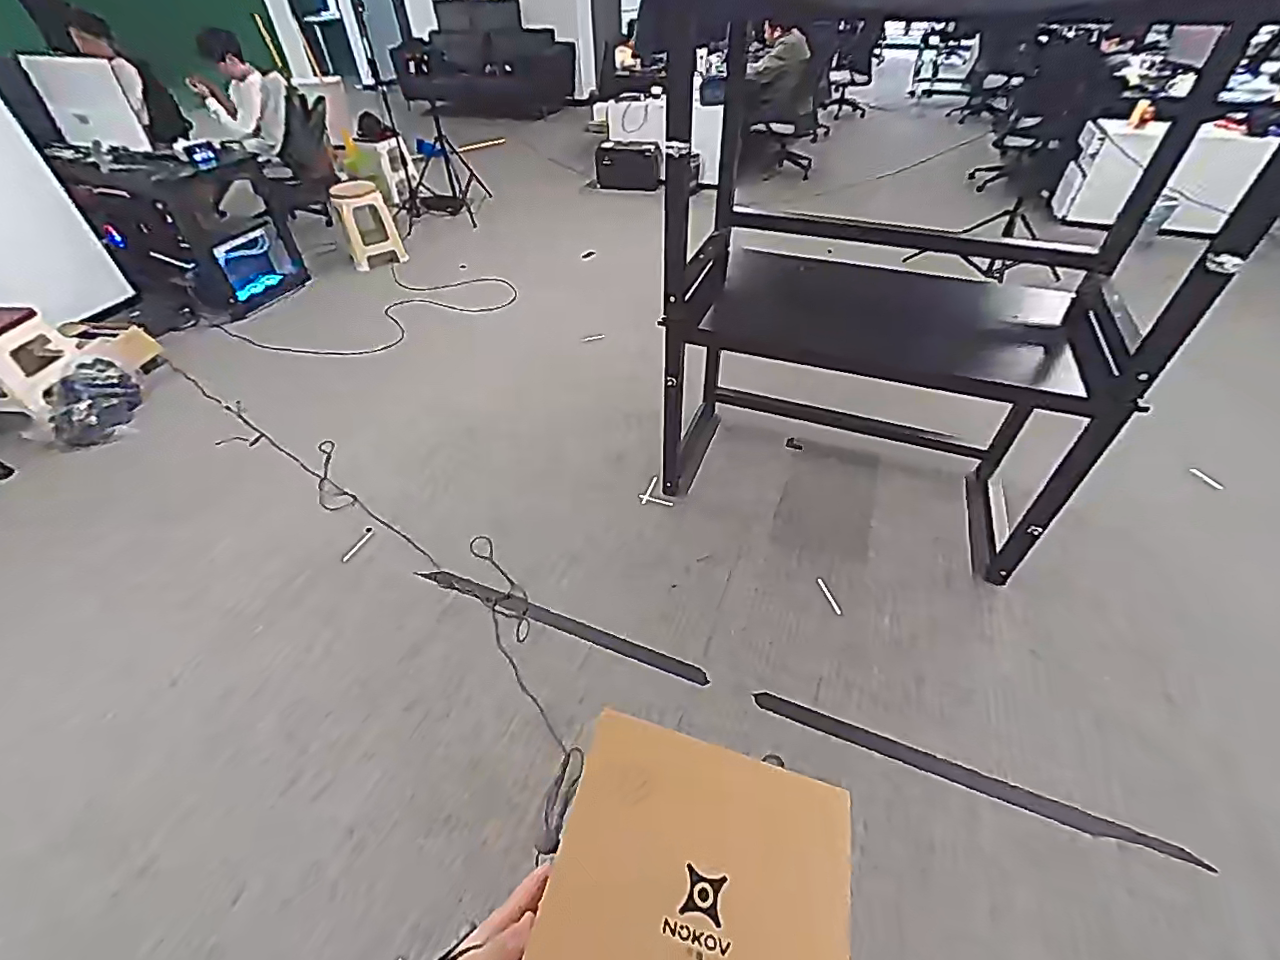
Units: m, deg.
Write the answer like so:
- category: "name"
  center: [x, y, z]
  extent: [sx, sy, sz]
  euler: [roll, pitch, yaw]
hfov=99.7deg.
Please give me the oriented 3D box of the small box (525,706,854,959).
- category: "small box"
  center: [0.023, 0.283, 0.349]
  extent: [0.168, 0.176, 0.179]
  euler: [16, 48, 6]
